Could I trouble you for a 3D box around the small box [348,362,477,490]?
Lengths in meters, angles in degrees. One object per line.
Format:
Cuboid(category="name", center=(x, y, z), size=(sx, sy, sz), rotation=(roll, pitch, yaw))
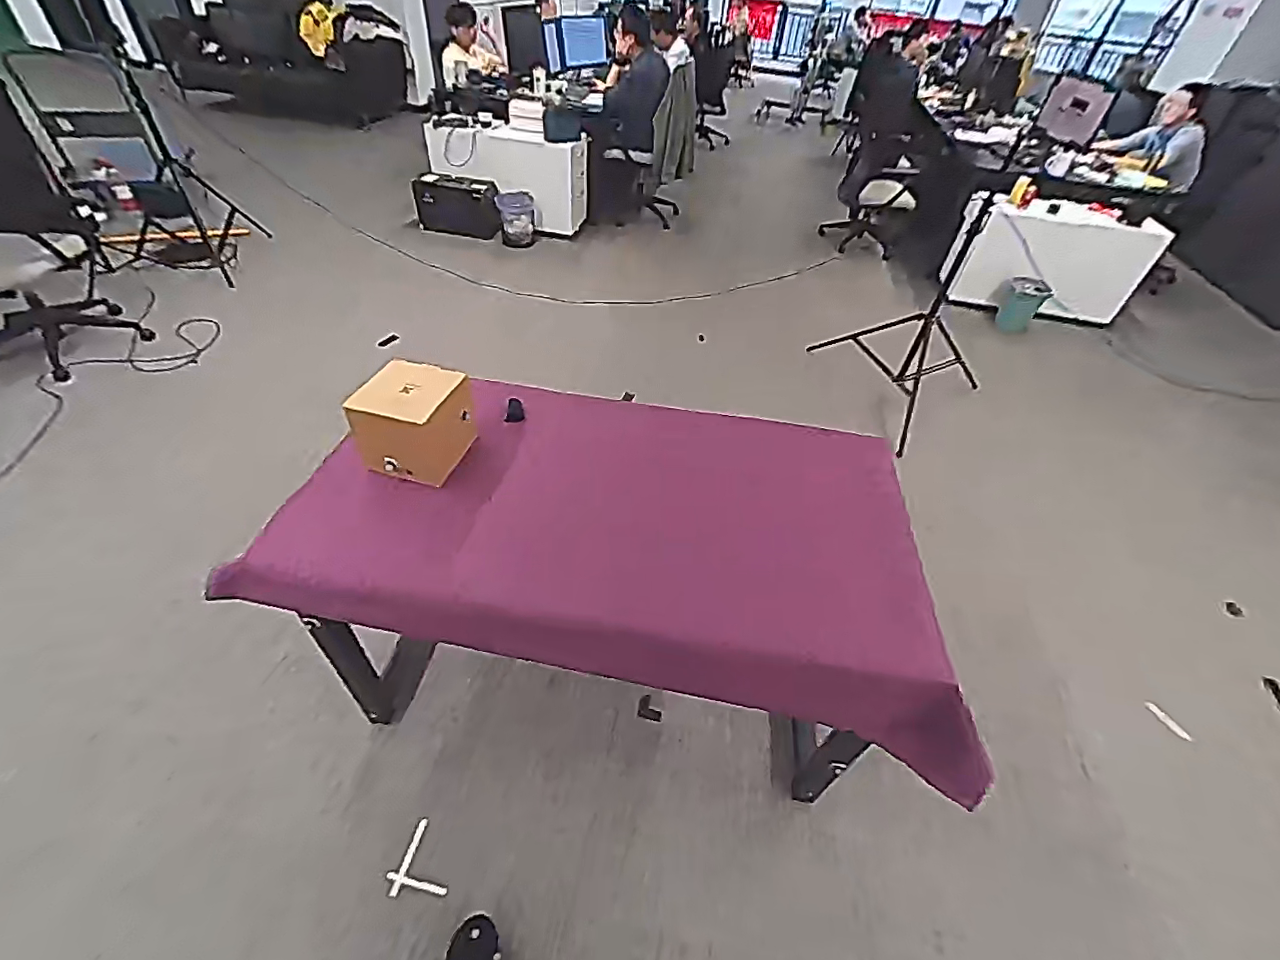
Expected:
Cuboid(category="small box", center=(-0.446, -0.109, 1.095), size=(0.168, 0.176, 0.179), rotation=(12, 45, 8))
